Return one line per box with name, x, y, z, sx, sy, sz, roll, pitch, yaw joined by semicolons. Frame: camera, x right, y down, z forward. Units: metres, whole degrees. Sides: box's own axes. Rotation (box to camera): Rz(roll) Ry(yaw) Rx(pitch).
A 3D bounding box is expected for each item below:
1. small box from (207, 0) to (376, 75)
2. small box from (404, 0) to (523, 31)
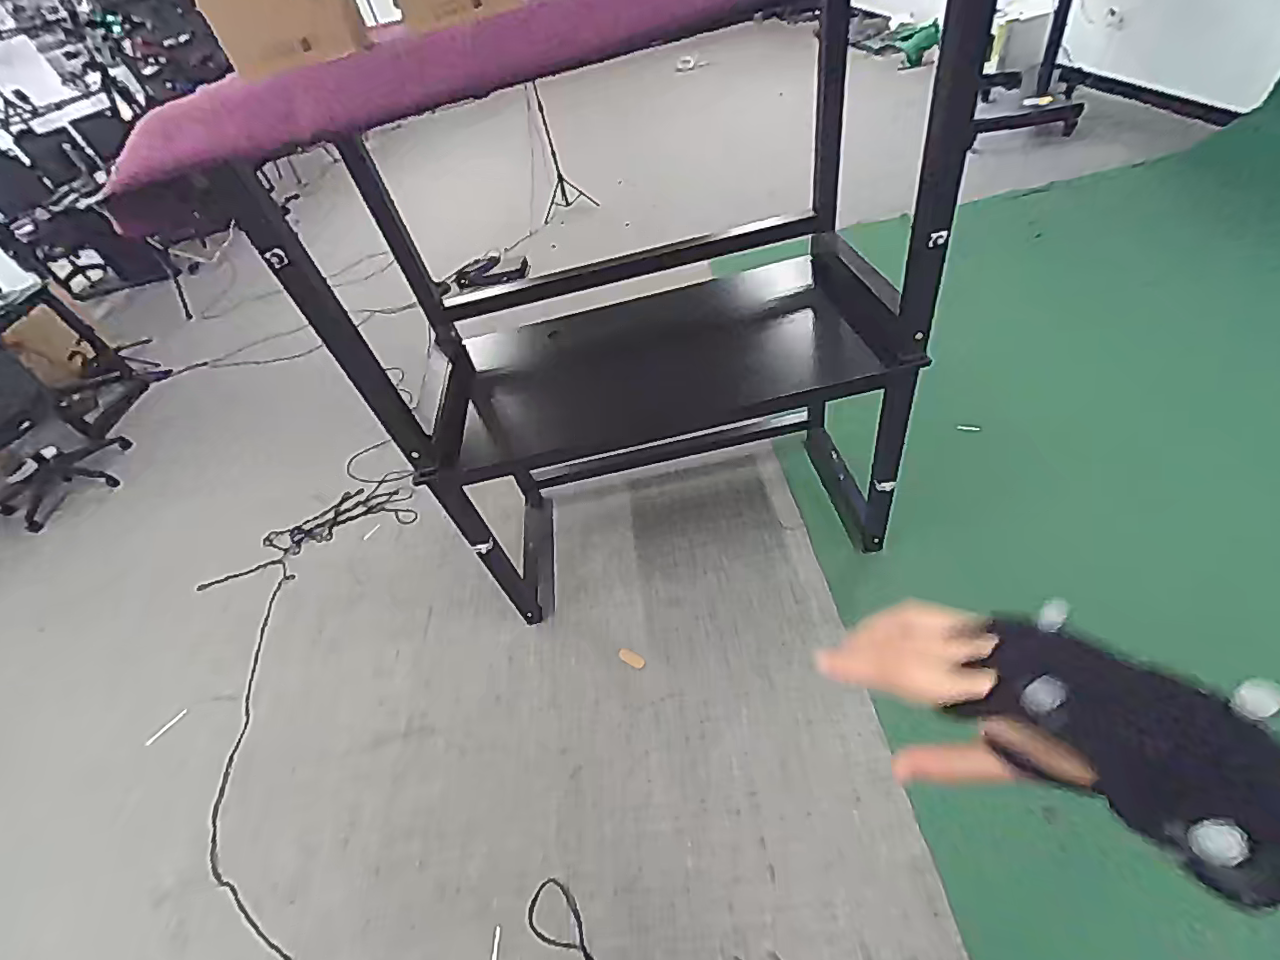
small box;-0.497;-0.692;0.756;0.168;0.176;0.179;-16;44;-1
small box;-0.264;-0.752;0.750;0.168;0.176;0.179;-15;45;0
